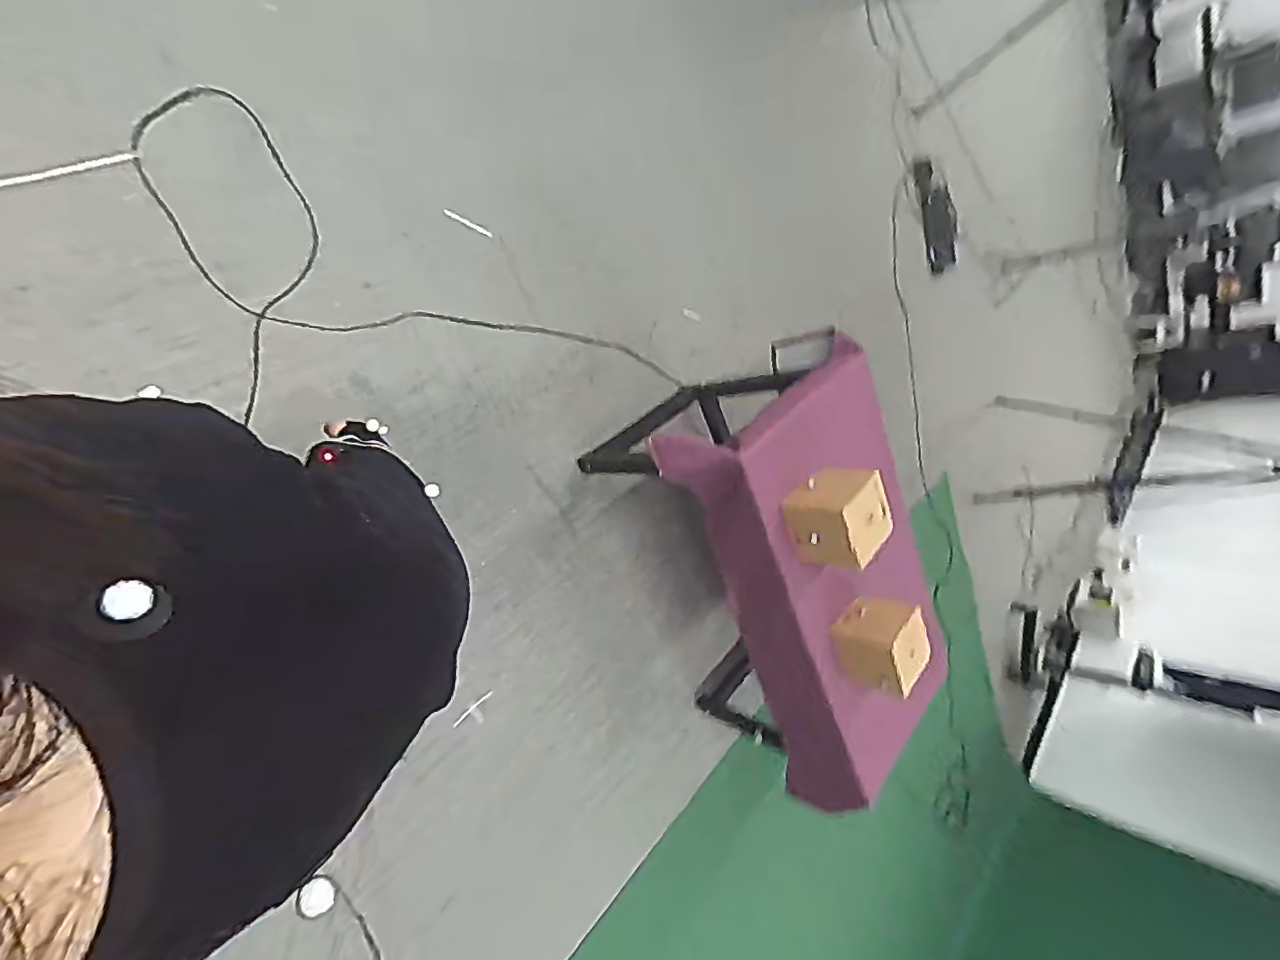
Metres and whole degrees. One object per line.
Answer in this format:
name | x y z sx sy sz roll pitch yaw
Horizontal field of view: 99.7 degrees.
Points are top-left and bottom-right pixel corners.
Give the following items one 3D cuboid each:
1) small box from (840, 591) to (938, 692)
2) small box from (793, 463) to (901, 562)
small box | 0.663 0.421 1.444 0.168 0.176 0.179 -36 113 -32
small box | 0.485 0.071 1.289 0.179 0.176 0.168 -37 114 -30
